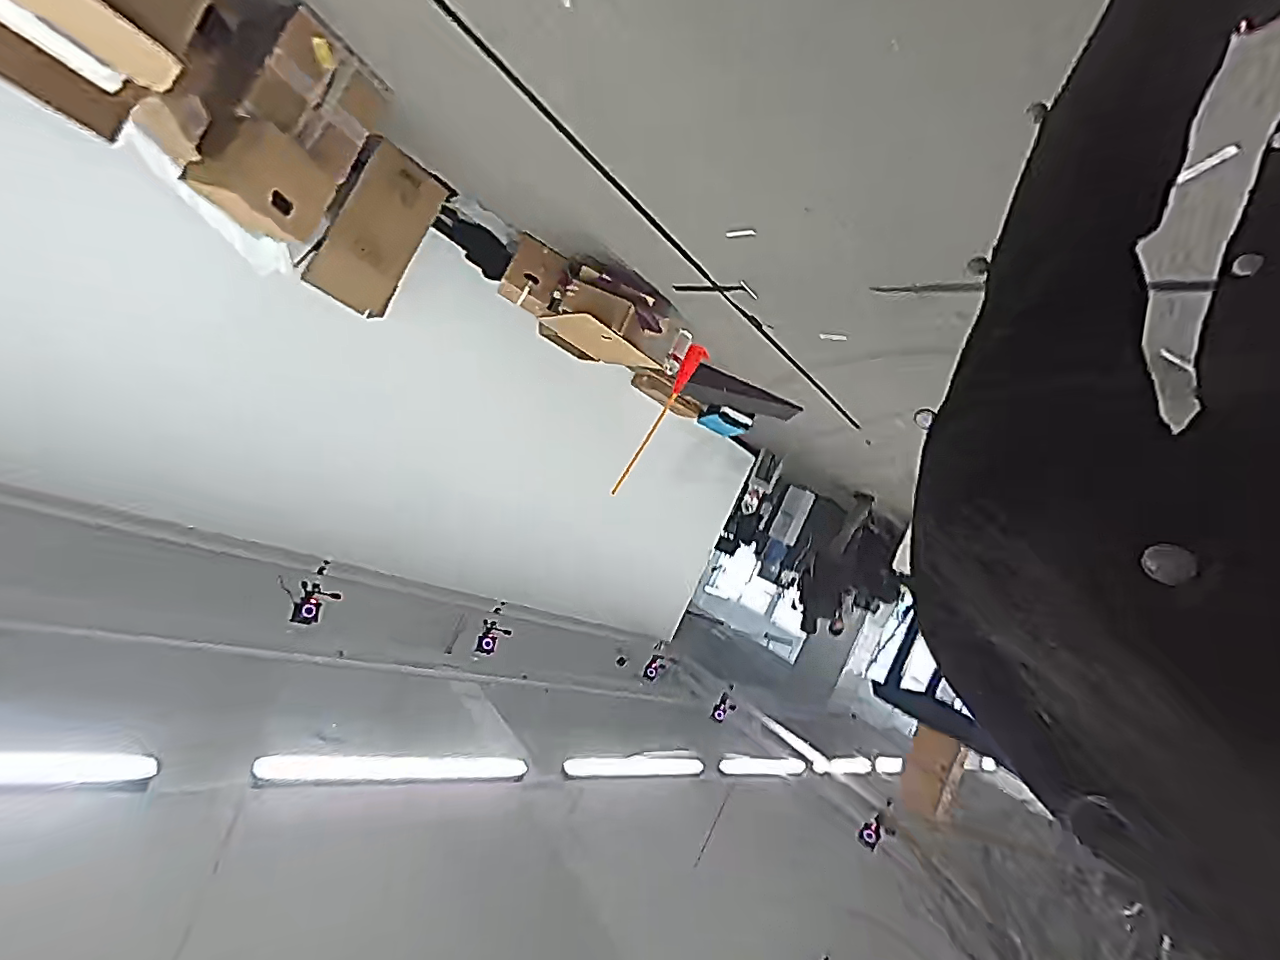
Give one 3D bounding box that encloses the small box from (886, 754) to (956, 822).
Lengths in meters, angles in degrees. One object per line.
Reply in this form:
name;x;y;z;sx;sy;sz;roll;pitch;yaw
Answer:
small box;1.120;1.215;2.149;0.168;0.176;0.179;23;178;-43
